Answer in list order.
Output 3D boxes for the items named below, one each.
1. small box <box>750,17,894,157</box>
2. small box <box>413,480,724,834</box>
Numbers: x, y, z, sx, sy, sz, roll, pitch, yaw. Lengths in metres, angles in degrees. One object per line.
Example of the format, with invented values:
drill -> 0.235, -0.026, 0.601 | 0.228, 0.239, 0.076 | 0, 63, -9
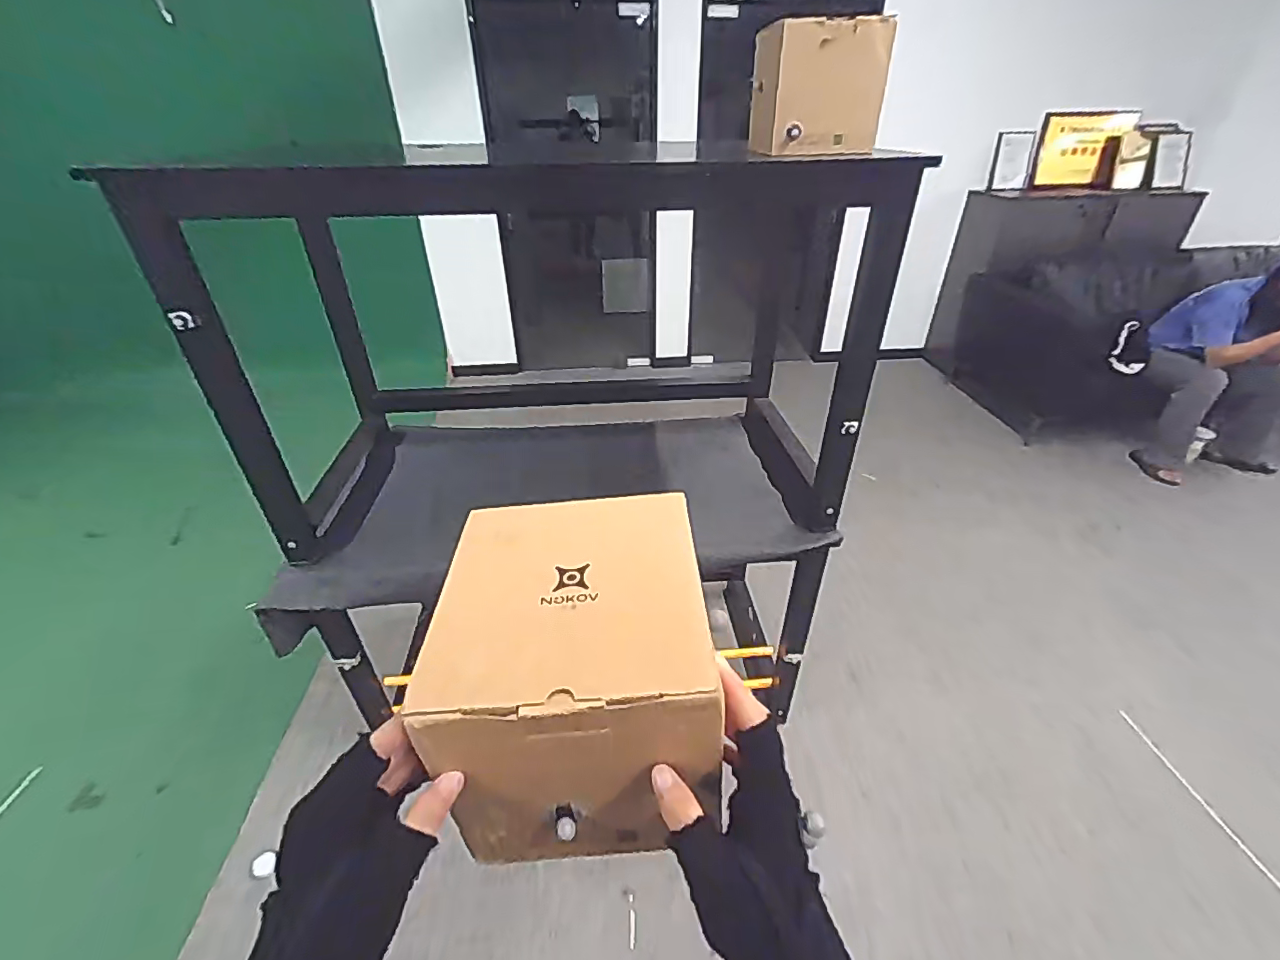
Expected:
small box -> 0.281, -0.625, 0.876 | 0.168, 0.176, 0.179 | -2, 33, -1
small box -> -0.036, 0.120, 0.392 | 0.168, 0.176, 0.179 | -5, 34, 0
